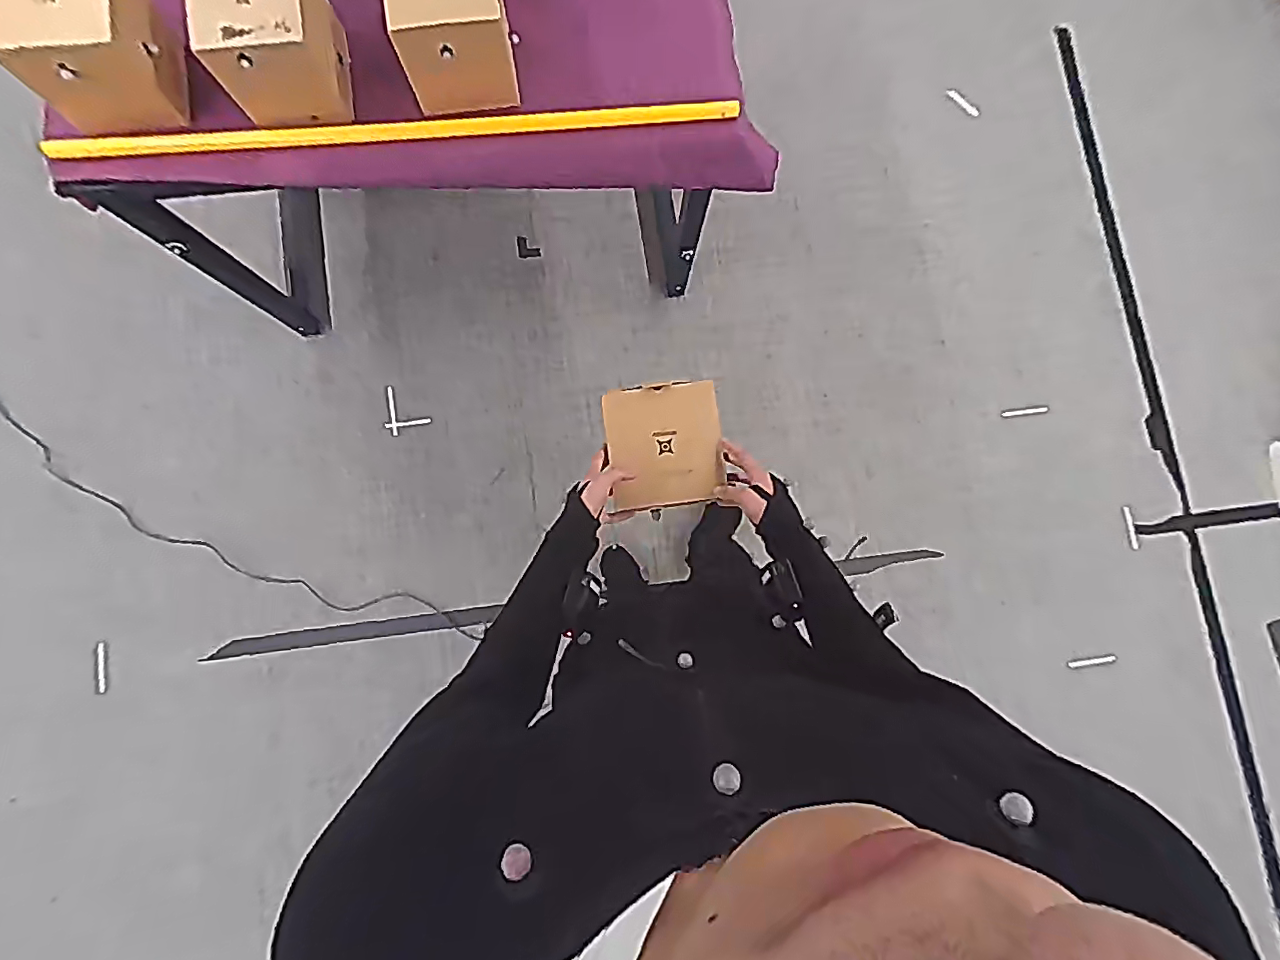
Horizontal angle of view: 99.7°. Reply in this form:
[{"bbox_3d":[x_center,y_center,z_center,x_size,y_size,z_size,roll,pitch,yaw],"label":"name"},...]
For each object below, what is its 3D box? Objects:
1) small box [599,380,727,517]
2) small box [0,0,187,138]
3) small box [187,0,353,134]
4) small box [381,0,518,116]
[{"bbox_3d":[0.027,-0.041,0.841,0.168,0.176,0.179,-8,84,-3],"label":"small box"},{"bbox_3d":[-0.877,-0.690,0.874,0.179,0.176,0.168,-8,84,-4],"label":"small box"},{"bbox_3d":[-0.598,-0.714,0.890,0.168,0.176,0.179,-8,84,-3],"label":"small box"},{"bbox_3d":[-0.314,-0.749,0.906,0.179,0.176,0.168,-9,83,-4],"label":"small box"}]
